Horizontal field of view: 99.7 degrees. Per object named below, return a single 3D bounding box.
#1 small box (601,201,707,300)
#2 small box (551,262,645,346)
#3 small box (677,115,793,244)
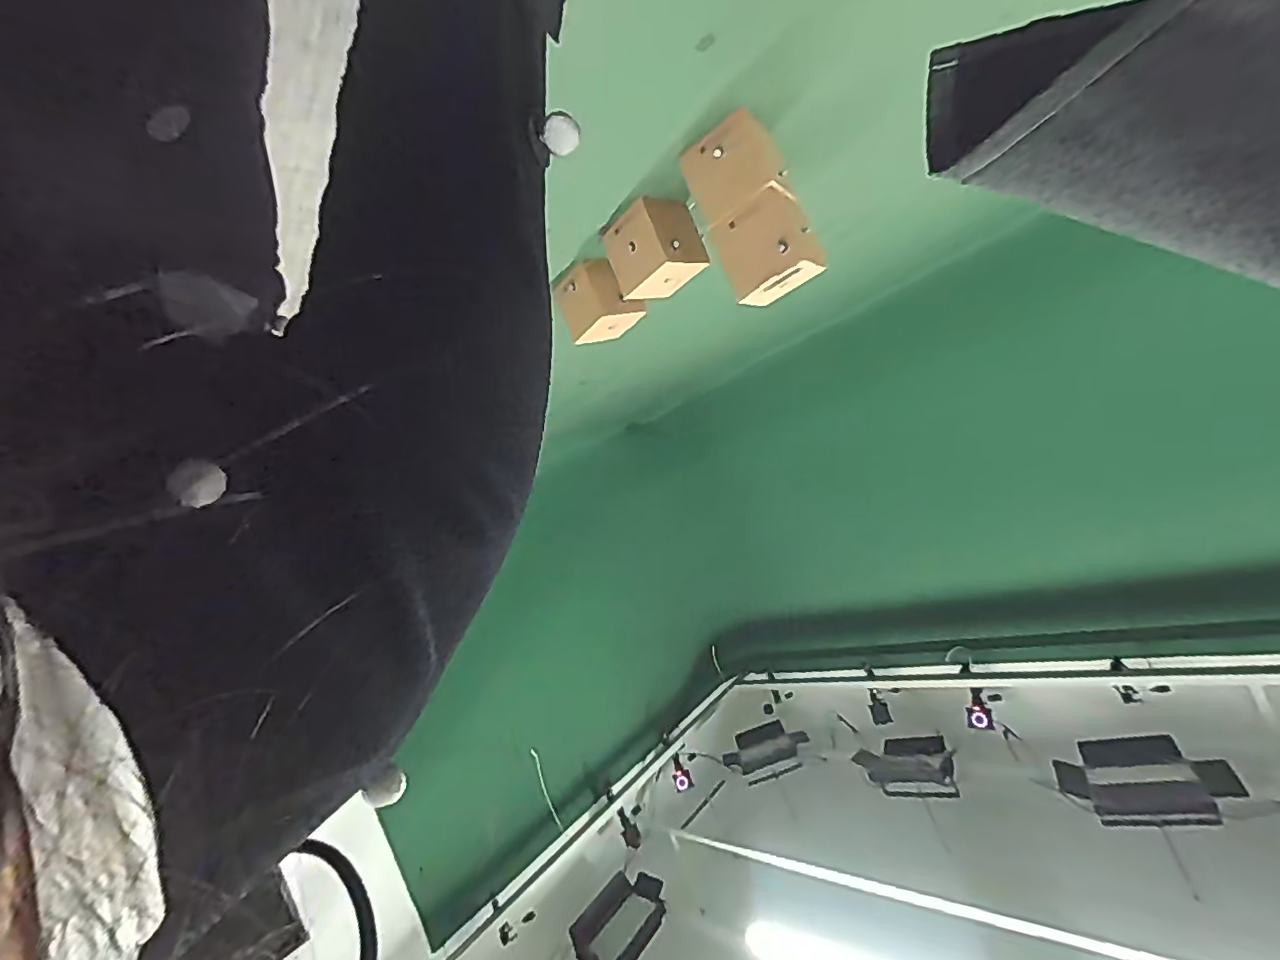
[{"bbox_3d":[0.032,-0.574,1.361,0.179,0.176,0.168,-23,179,-44],"label":"small box"},{"bbox_3d":[-0.121,-0.506,1.544,0.179,0.176,0.168,-22,178,-41],"label":"small box"},{"bbox_3d":[0.211,-0.656,1.194,0.168,0.176,0.179,-25,176,34],"label":"small box"}]
